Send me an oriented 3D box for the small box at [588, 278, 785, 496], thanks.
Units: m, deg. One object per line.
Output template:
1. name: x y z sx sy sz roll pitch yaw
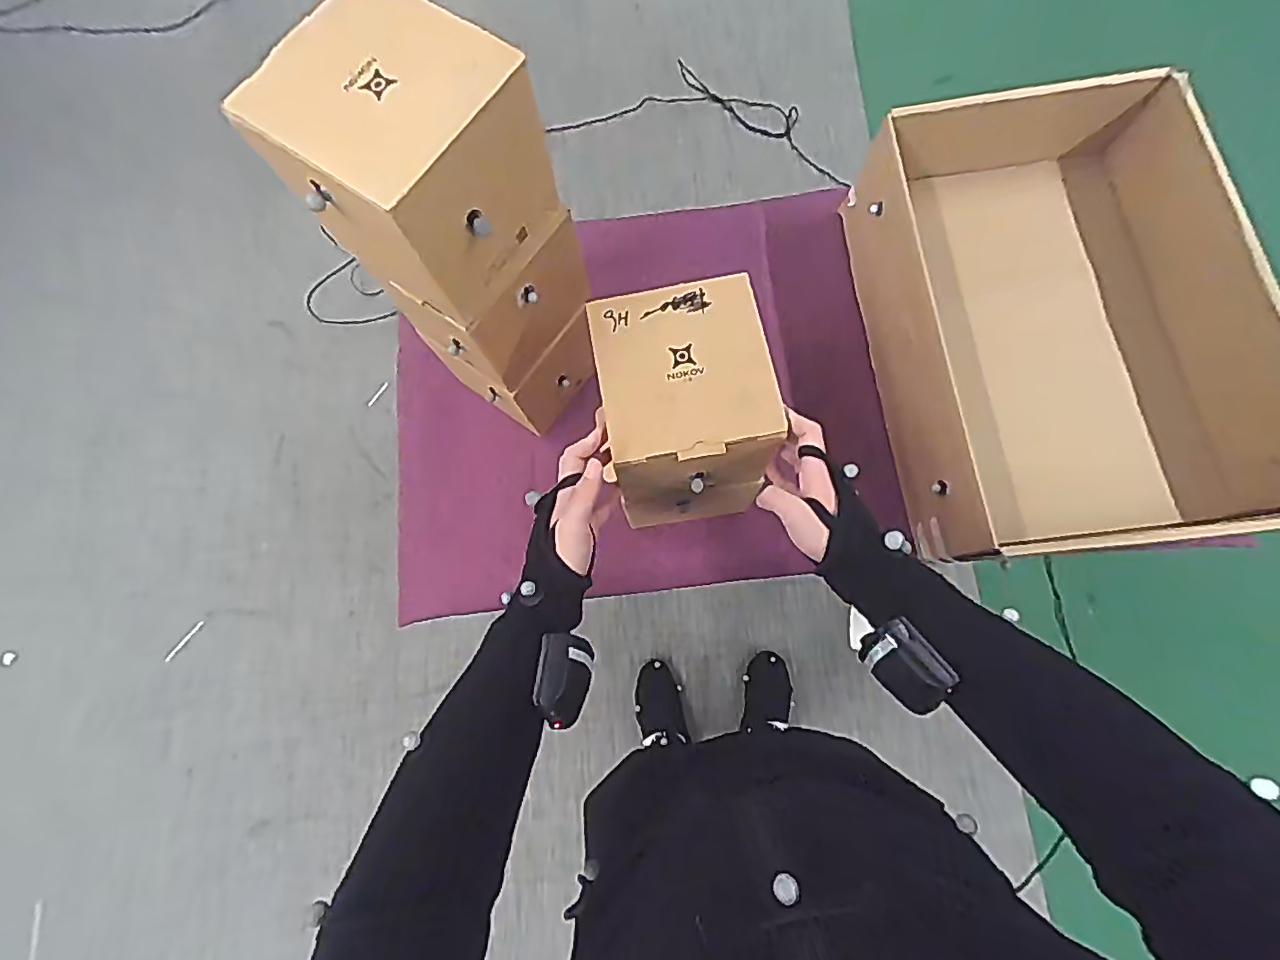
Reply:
1. small box: 0.046 -0.086 0.592 0.168 0.176 0.179 -10 76 0

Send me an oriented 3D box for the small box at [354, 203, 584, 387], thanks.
1. small box: -0.183 -0.241 0.643 0.168 0.176 0.179 36 80 9

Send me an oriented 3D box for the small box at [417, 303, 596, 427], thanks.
1. small box: -0.180 -0.198 0.800 0.179 0.176 0.168 35 80 10

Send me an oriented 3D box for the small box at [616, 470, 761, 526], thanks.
1. small box: 0.056 -0.039 0.747 0.179 0.176 0.168 -9 75 1

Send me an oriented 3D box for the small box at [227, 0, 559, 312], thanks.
1. small box: -0.195 -0.281 0.487 0.179 0.176 0.168 34 81 9
